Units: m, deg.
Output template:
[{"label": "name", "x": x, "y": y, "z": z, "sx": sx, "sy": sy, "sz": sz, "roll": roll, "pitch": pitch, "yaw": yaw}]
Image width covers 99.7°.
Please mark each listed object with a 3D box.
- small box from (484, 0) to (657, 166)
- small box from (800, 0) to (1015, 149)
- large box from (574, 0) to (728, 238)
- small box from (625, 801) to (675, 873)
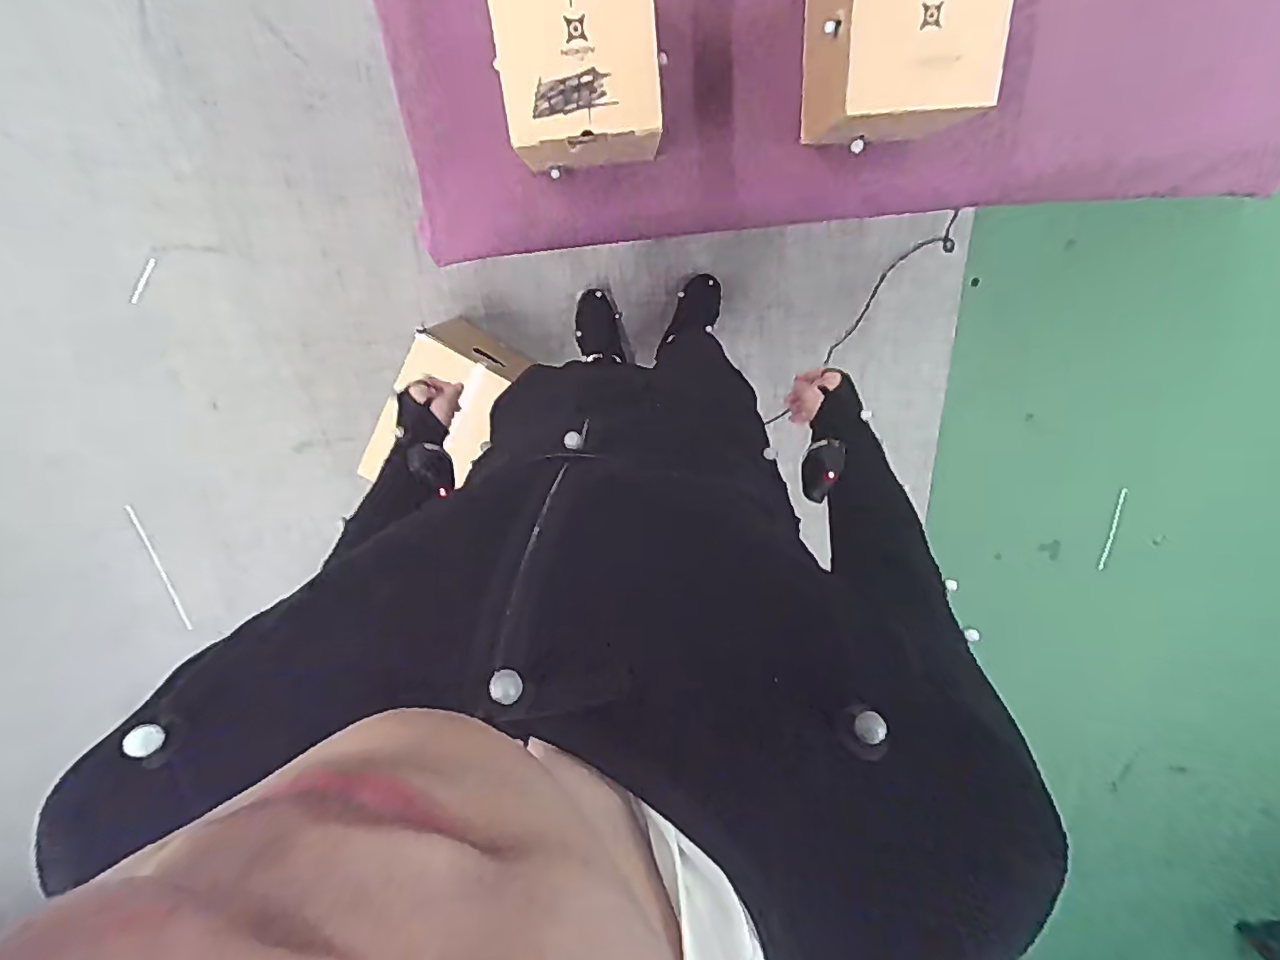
[{"label": "small box", "x": -0.070, "y": -0.468, "z": 0.612, "sx": 0.168, "sy": 0.176, "sz": 0.179, "roll": -6, "pitch": 111, "yaw": -1}, {"label": "small box", "x": 0.291, "y": -0.498, "z": 0.618, "sx": 0.168, "sy": 0.176, "sz": 0.179, "roll": -3, "pitch": 112, "yaw": 0}, {"label": "large box", "x": 0.010, "y": -0.778, "z": 1.206, "sx": 0.320, "sy": 0.320, "sz": 0.408, "roll": -5, "pitch": 112, "yaw": -1}, {"label": "small box", "x": 0.037, "y": 1.406, "z": 2.138, "sx": 0.179, "sy": 0.176, "sz": 0.168, "roll": -8, "pitch": 112, "yaw": 0}]
